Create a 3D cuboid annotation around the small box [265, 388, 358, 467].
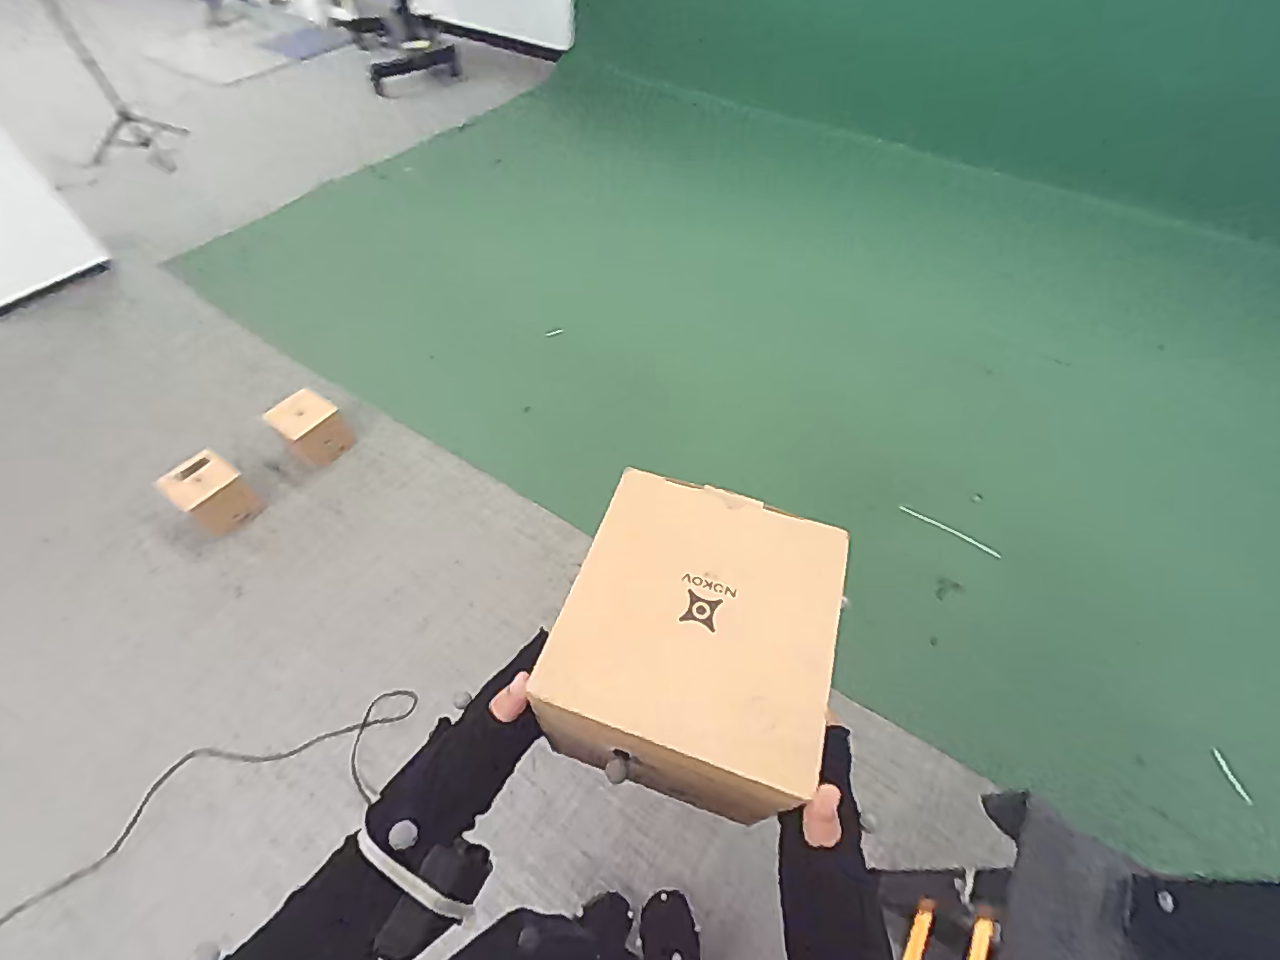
[{"bbox_3d":[-1.085,-0.169,1.800,0.179,0.176,0.168,29,58,18],"label":"small box"}]
